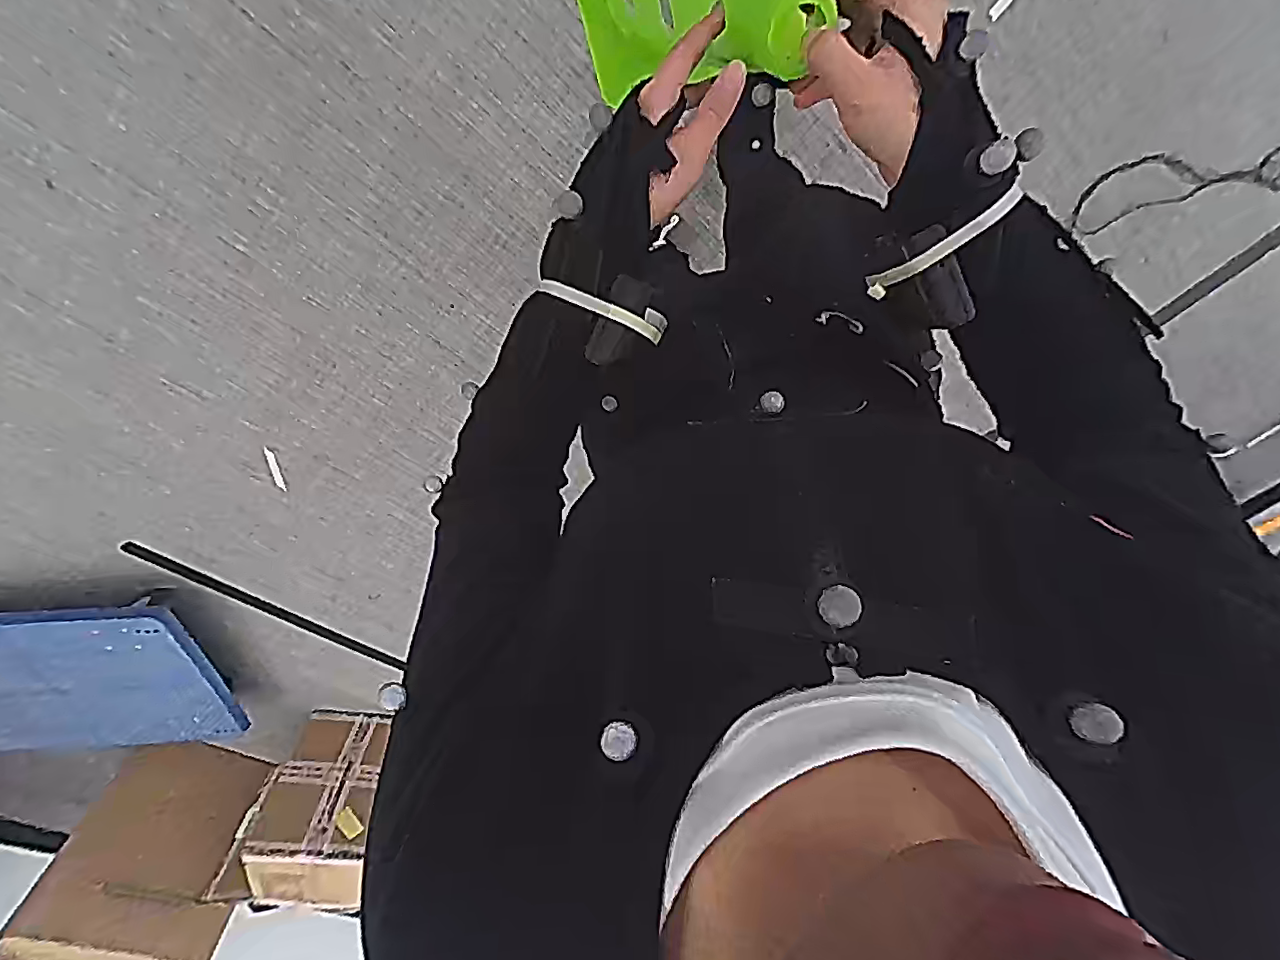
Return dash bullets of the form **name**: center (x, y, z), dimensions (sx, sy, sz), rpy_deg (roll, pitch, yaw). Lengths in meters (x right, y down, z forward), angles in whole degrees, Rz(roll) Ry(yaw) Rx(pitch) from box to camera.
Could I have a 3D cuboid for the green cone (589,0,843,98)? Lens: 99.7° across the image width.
- **green cone**: center (0.067, -0.374, 0.397), dimensions (0.202, 0.368, 0.200), rpy_deg (-16, 138, 7)
